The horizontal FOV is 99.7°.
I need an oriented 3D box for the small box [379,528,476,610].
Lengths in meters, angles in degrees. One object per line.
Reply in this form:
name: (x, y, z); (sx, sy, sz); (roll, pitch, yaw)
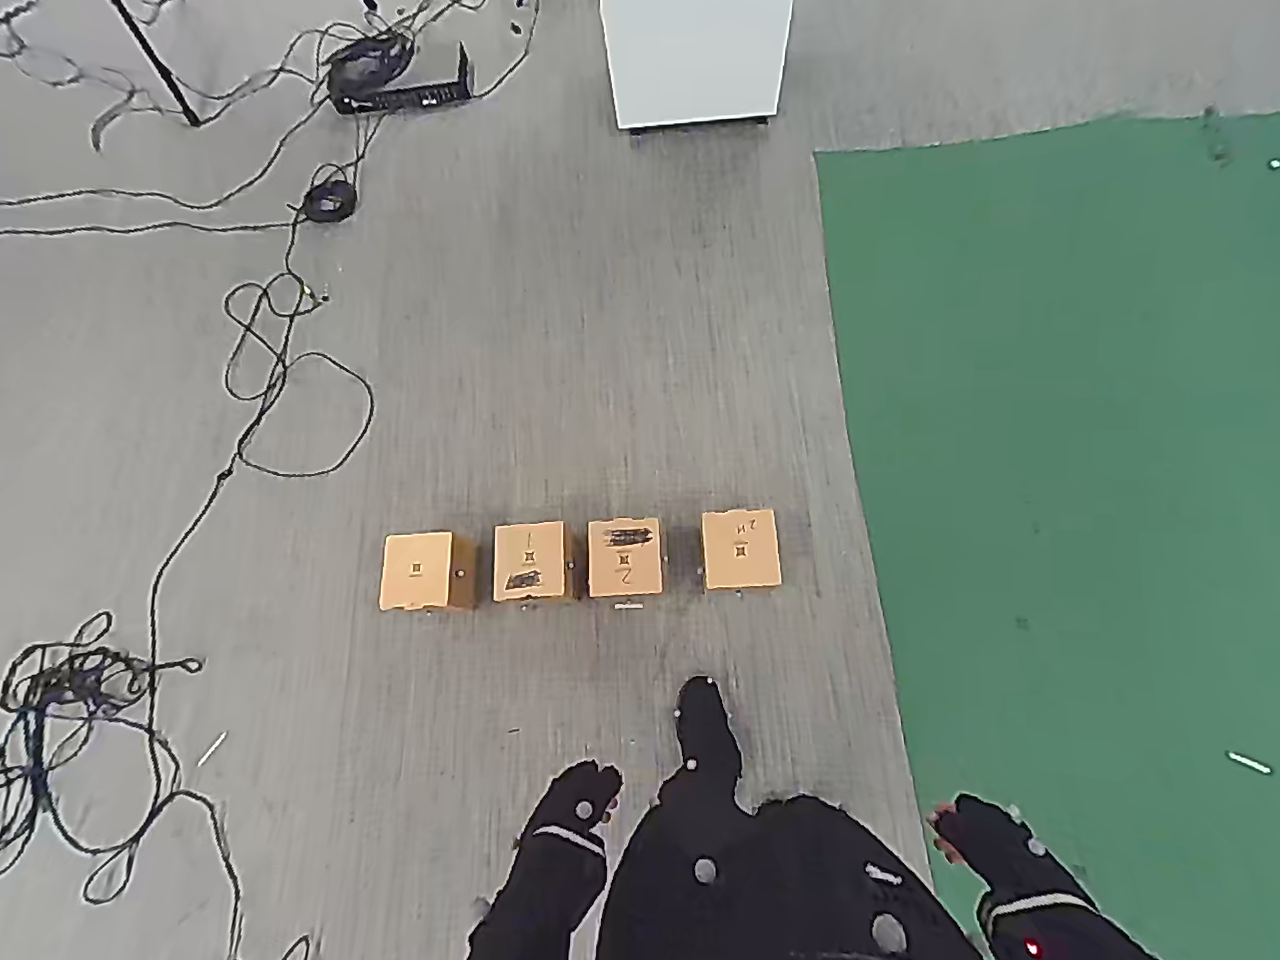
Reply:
small box: (-0.522, 0.227, 1.351); (0.168, 0.176, 0.179); (-4, 72, 5)

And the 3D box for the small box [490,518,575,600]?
small box: (-0.257, 0.201, 1.330); (0.168, 0.176, 0.179); (-5, 71, 5)

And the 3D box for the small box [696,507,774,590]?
small box: (0.222, 0.171, 1.297); (0.168, 0.176, 0.179); (-3, 73, 4)
